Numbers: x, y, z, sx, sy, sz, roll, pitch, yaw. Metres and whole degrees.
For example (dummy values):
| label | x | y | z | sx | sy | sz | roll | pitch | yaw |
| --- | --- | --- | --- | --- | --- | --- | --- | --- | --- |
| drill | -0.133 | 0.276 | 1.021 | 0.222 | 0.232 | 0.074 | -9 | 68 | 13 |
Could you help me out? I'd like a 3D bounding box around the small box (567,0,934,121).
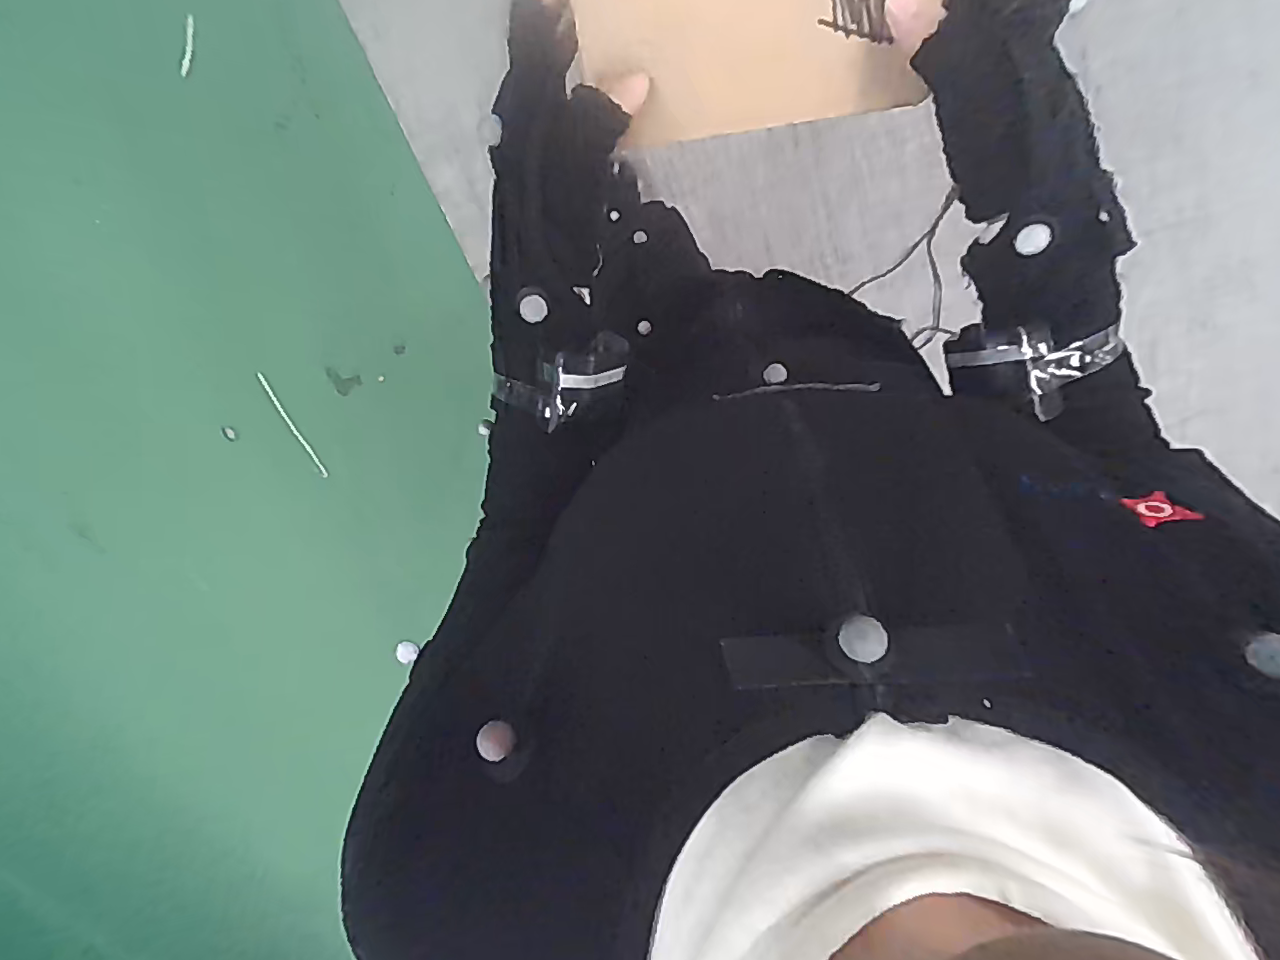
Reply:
| label | x | y | z | sx | sy | sz | roll | pitch | yaw |
| --- | --- | --- | --- | --- | --- | --- | --- | --- | --- |
| small box | 0.051 | -0.311 | 0.284 | 0.179 | 0.176 | 0.168 | -2 | 135 | 6 |
